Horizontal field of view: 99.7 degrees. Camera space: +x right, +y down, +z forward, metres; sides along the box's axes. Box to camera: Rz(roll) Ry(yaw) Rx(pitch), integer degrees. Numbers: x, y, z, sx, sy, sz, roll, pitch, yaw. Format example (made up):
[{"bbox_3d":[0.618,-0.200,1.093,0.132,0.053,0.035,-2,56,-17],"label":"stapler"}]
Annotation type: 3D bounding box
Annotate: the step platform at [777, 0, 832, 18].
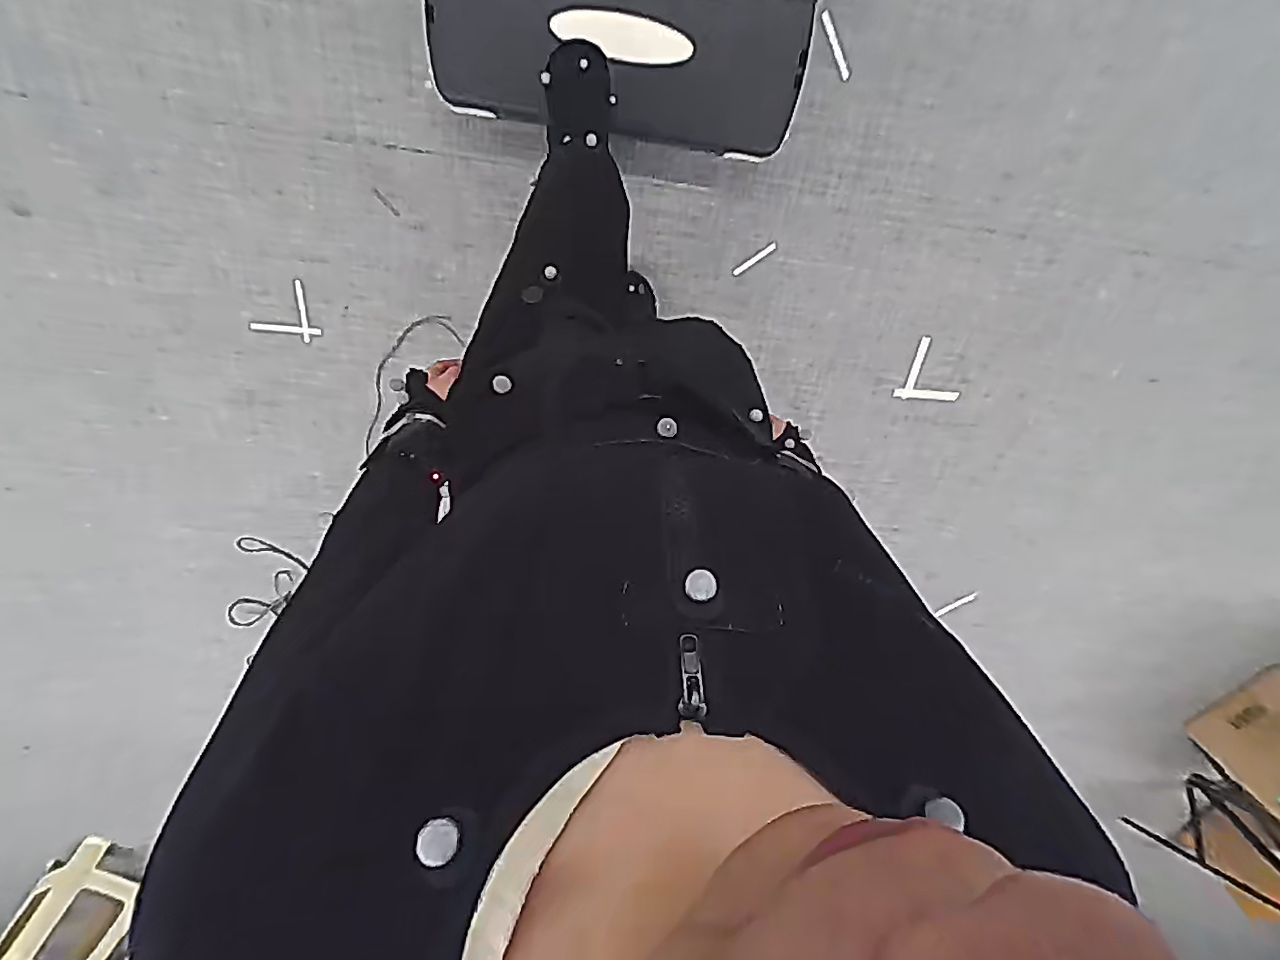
[{"bbox_3d":[0.042,-0.986,0.825,0.684,0.204,0.286,9,117,-9],"label":"step platform"}]
